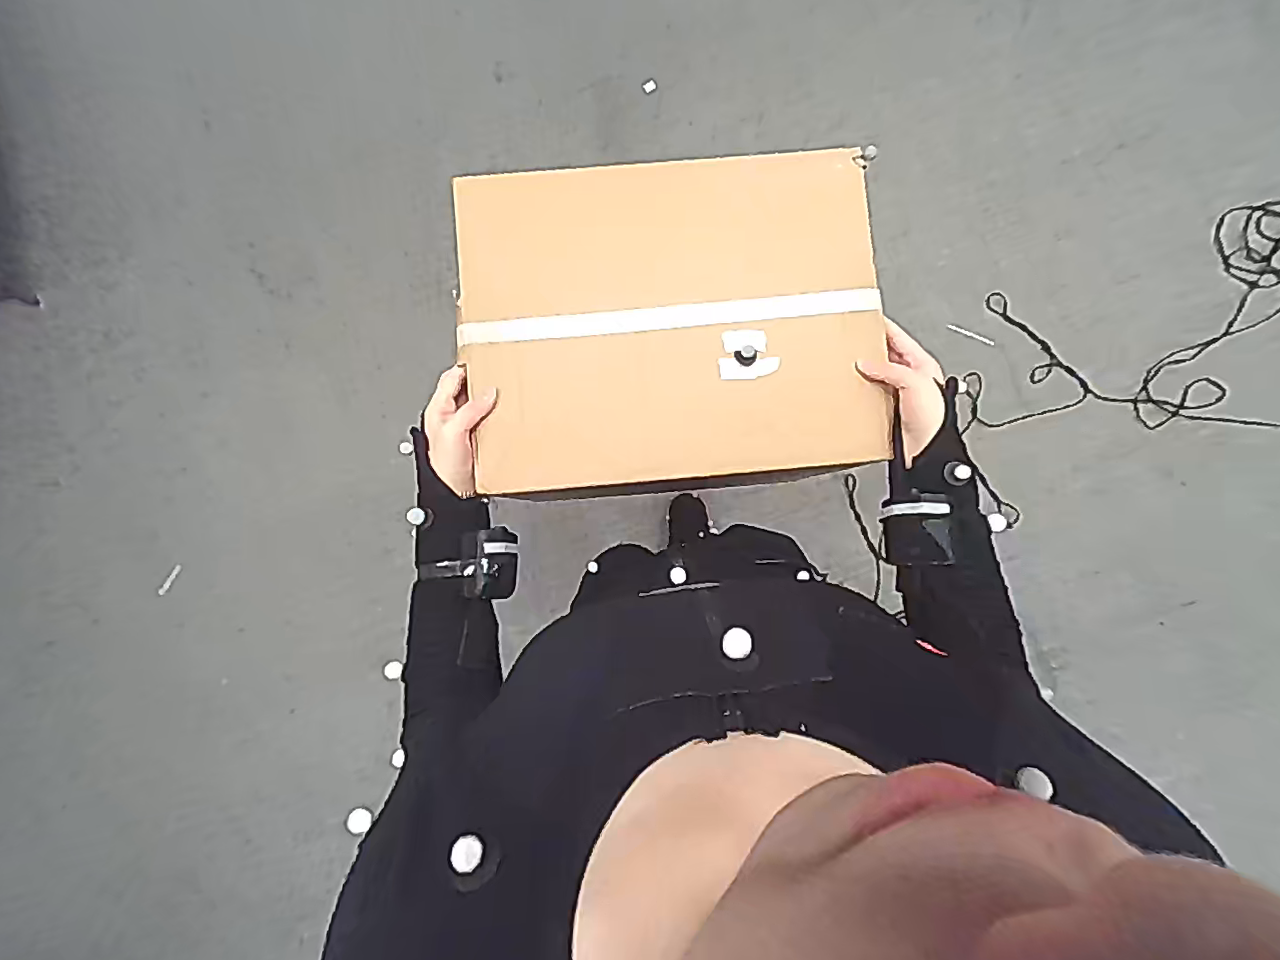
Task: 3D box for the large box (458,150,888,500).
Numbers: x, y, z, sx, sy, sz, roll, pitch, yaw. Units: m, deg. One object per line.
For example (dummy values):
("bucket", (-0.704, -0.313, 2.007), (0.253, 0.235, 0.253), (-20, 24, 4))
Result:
("large box", (0.025, -0.153, 0.678), (0.408, 0.320, 0.320), (-5, 87, -3))
